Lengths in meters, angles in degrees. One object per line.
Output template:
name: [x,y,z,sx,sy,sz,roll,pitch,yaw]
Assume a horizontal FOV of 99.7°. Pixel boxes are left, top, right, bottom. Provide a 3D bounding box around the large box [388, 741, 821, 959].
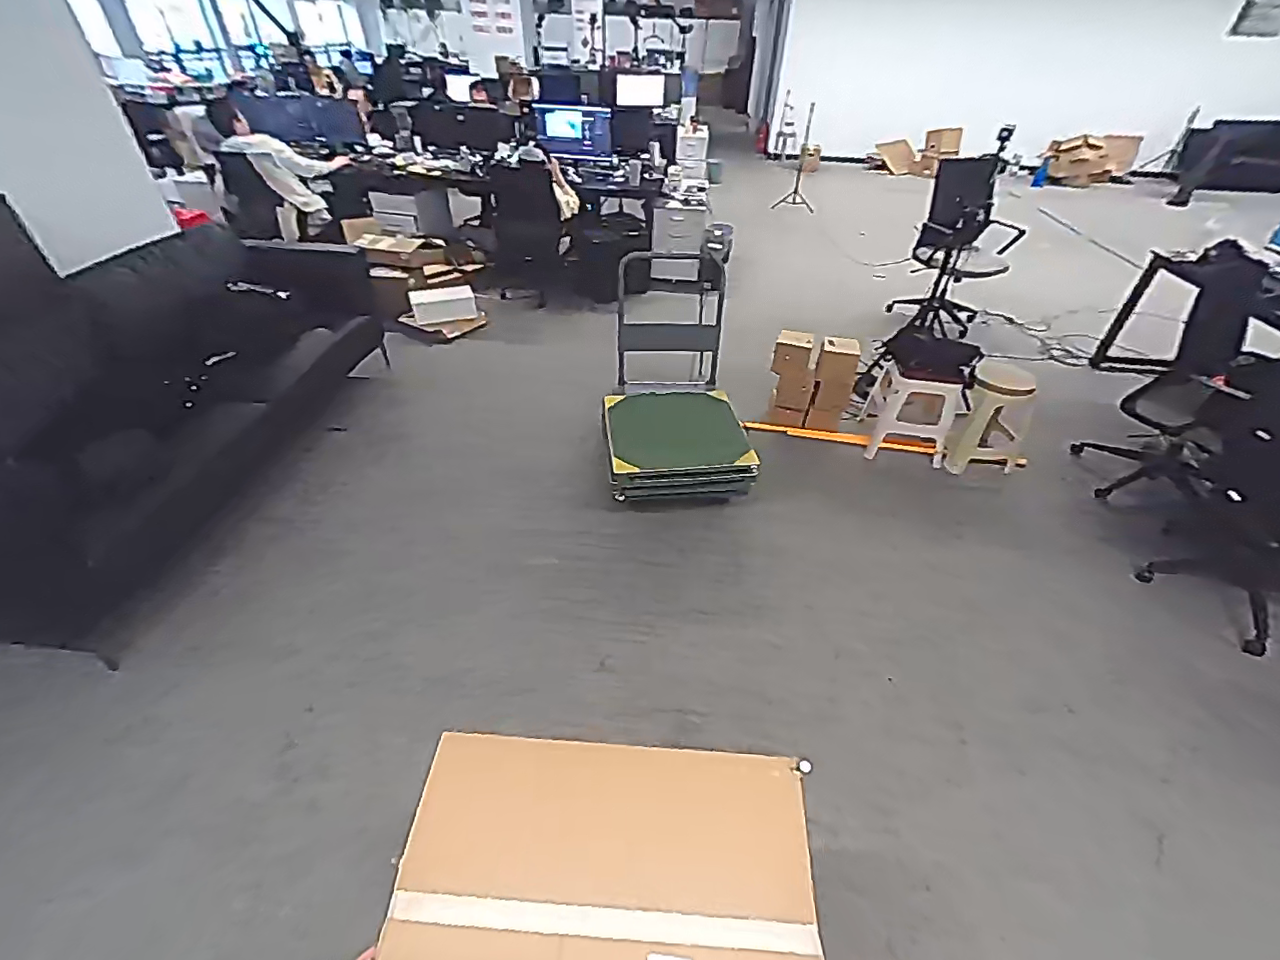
large box: [-0.034,0.520,0.621,0.408,0.320,0.320,3,48,1]
